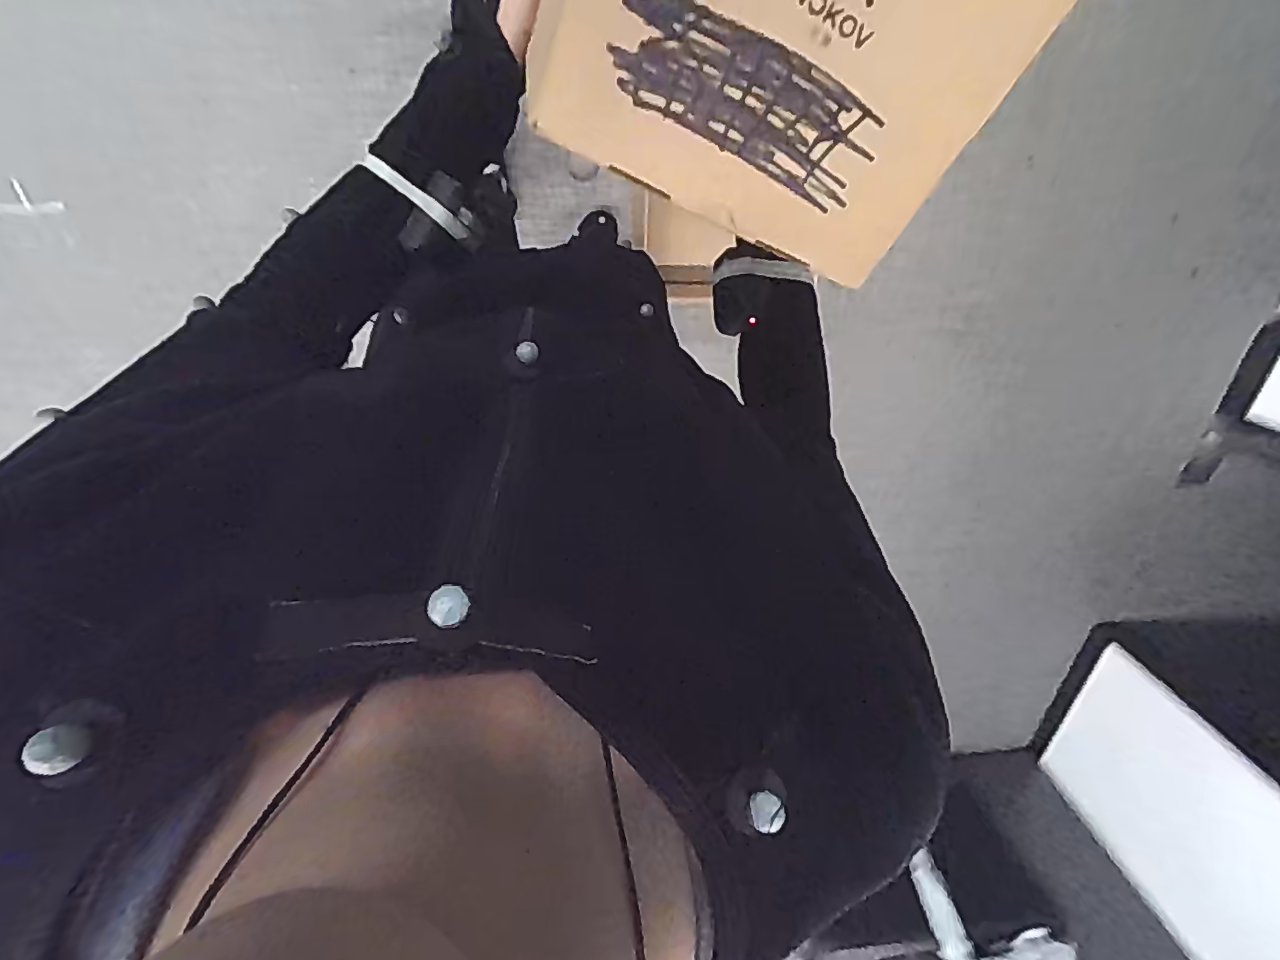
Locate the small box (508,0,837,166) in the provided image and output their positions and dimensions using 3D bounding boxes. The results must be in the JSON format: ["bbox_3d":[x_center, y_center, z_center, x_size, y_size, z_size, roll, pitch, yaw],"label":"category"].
[{"bbox_3d":[0.020,-0.340,0.348,0.179,0.176,0.168,9,133,-19],"label":"small box"}]
